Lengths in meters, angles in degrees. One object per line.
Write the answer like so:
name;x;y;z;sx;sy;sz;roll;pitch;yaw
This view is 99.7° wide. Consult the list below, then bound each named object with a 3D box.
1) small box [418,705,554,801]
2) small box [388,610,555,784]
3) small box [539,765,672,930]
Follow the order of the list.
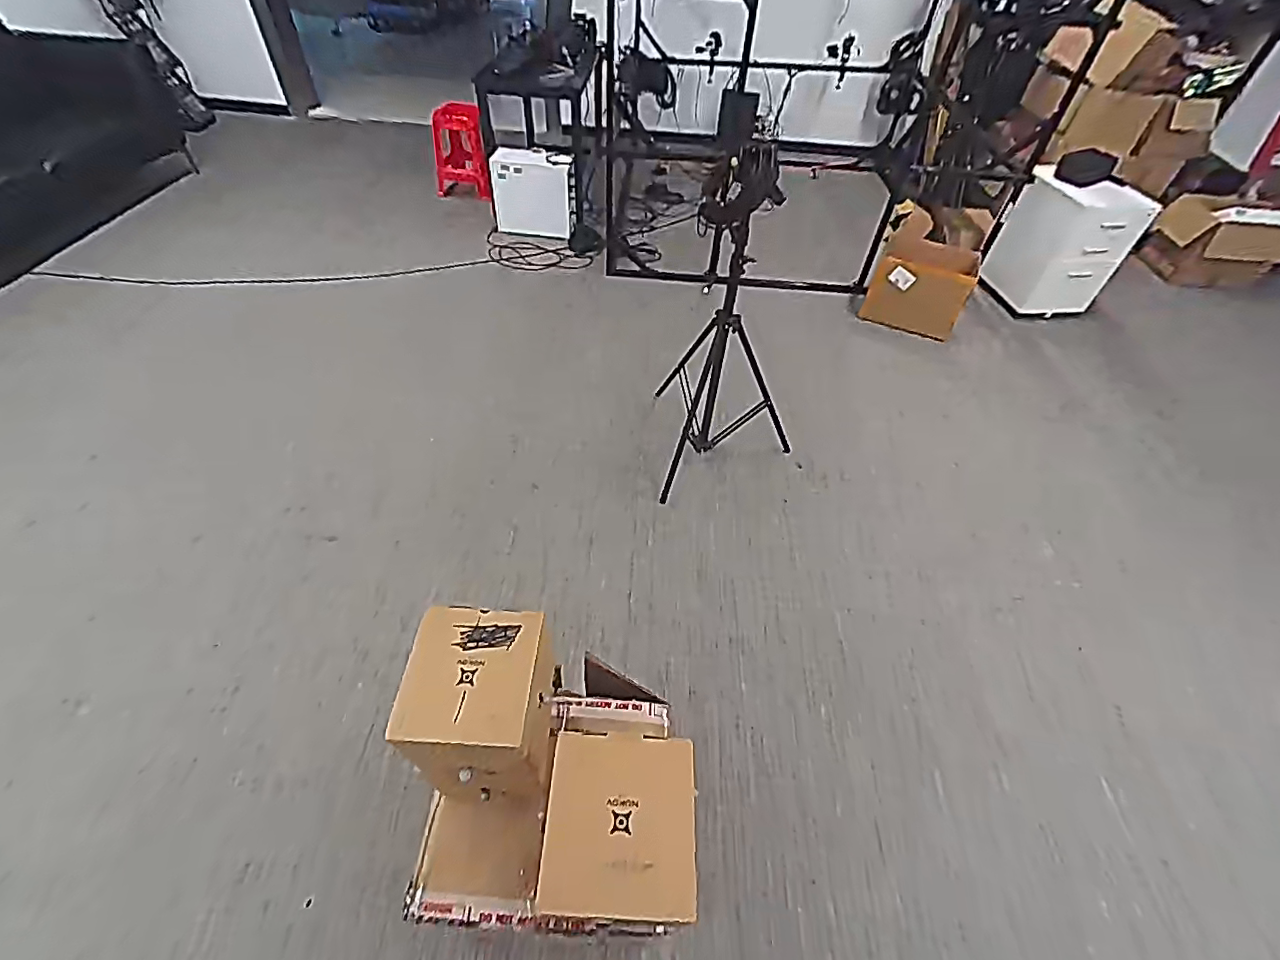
small box;-0.235;0.404;0.876;0.168;0.176;0.179;0;50;-1
small box;-0.215;0.301;0.748;0.168;0.176;0.179;3;50;1
small box;-0.043;0.530;0.778;0.168;0.176;0.179;4;49;-1
